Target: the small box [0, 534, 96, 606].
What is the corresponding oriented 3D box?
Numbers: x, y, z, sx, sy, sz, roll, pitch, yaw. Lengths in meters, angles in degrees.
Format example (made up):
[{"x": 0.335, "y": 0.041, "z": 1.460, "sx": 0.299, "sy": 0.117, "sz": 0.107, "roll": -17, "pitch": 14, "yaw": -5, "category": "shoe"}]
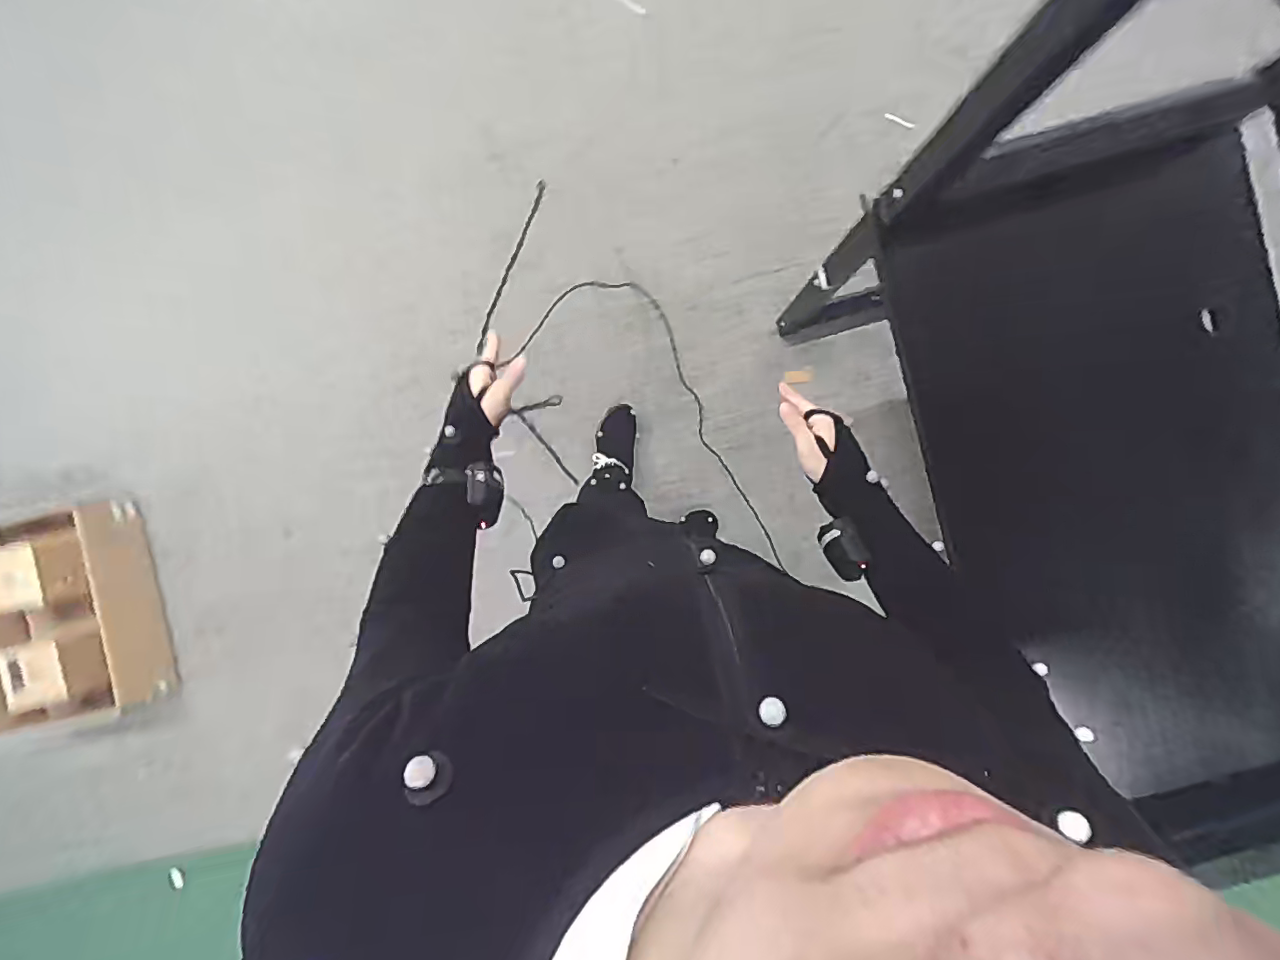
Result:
[{"x": -1.744, "y": 0.257, "z": 1.569, "sx": 0.179, "sy": 0.176, "sz": 0.168, "roll": -11, "pitch": 91, "yaw": 2, "category": "small box"}]
